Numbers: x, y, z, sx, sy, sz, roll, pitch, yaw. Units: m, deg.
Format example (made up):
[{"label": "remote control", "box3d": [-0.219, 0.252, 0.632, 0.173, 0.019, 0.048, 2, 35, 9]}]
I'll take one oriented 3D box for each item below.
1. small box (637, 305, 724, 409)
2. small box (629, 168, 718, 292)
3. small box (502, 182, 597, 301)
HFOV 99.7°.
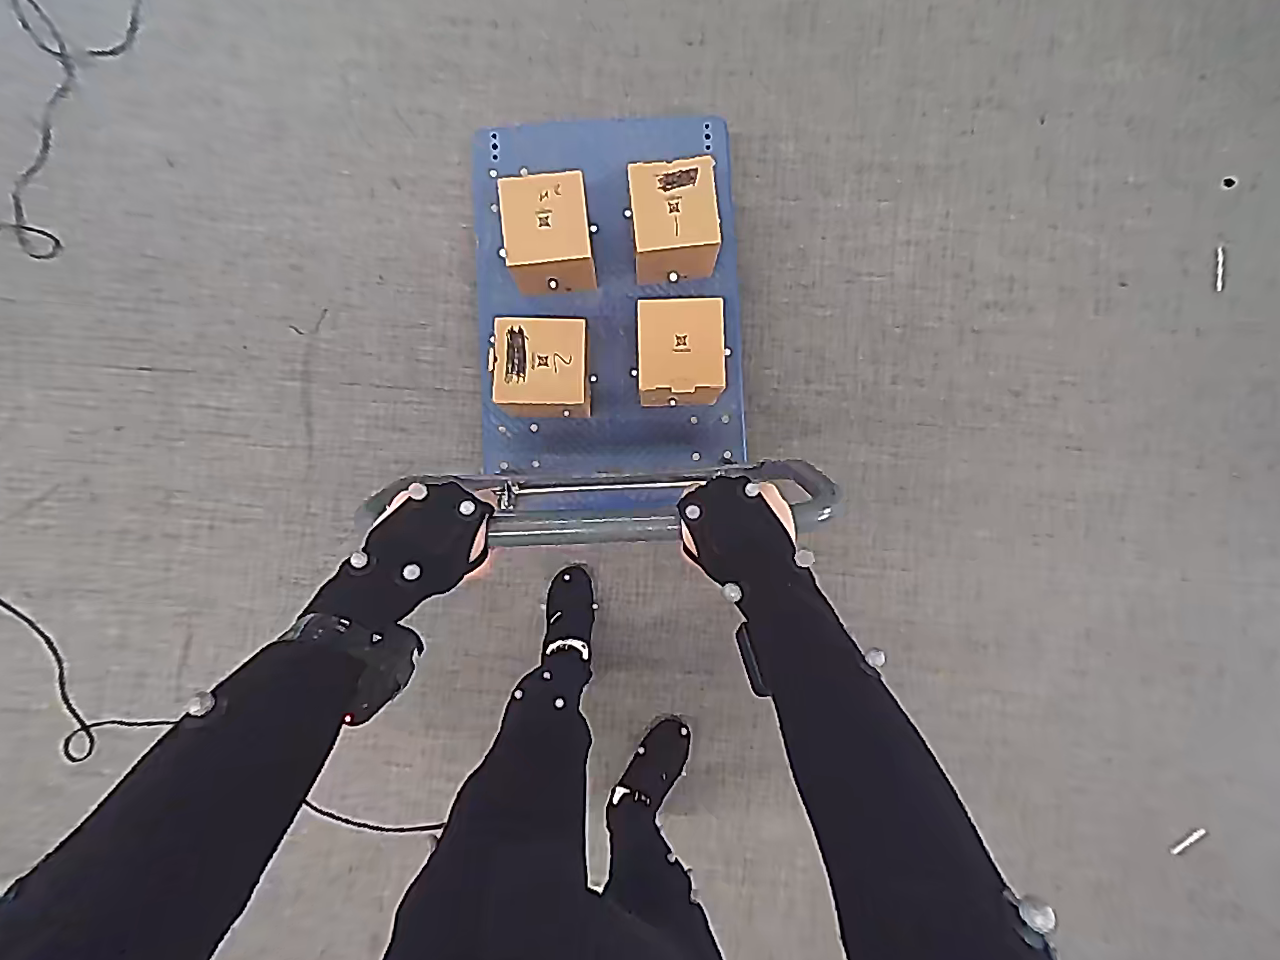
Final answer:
[{"label": "small box", "box3d": [0.079, -0.250, 1.131, 0.168, 0.176, 0.179, -2, 88, 0]}, {"label": "small box", "box3d": [0.066, -0.520, 1.143, 0.168, 0.176, 0.179, -6, 88, 1]}, {"label": "small box", "box3d": [-0.185, -0.491, 1.142, 0.168, 0.176, 0.179, -6, 87, -1]}]
